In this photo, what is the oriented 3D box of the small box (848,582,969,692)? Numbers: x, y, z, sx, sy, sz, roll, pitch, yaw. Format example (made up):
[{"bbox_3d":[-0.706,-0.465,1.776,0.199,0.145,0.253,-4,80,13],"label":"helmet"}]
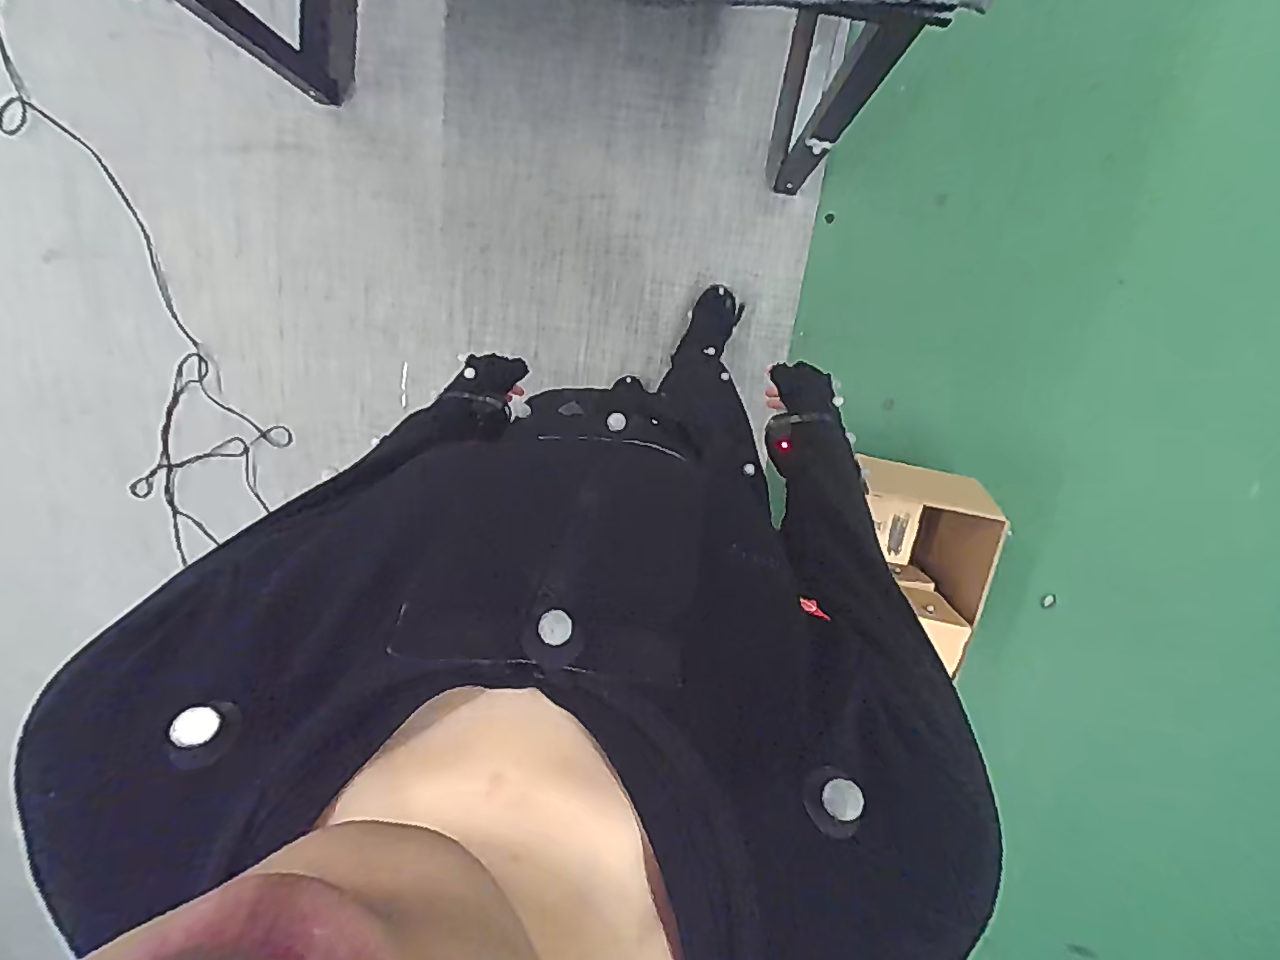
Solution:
[{"bbox_3d":[0.605,0.353,1.249,0.179,0.176,0.168,12,105,0],"label":"small box"}]
